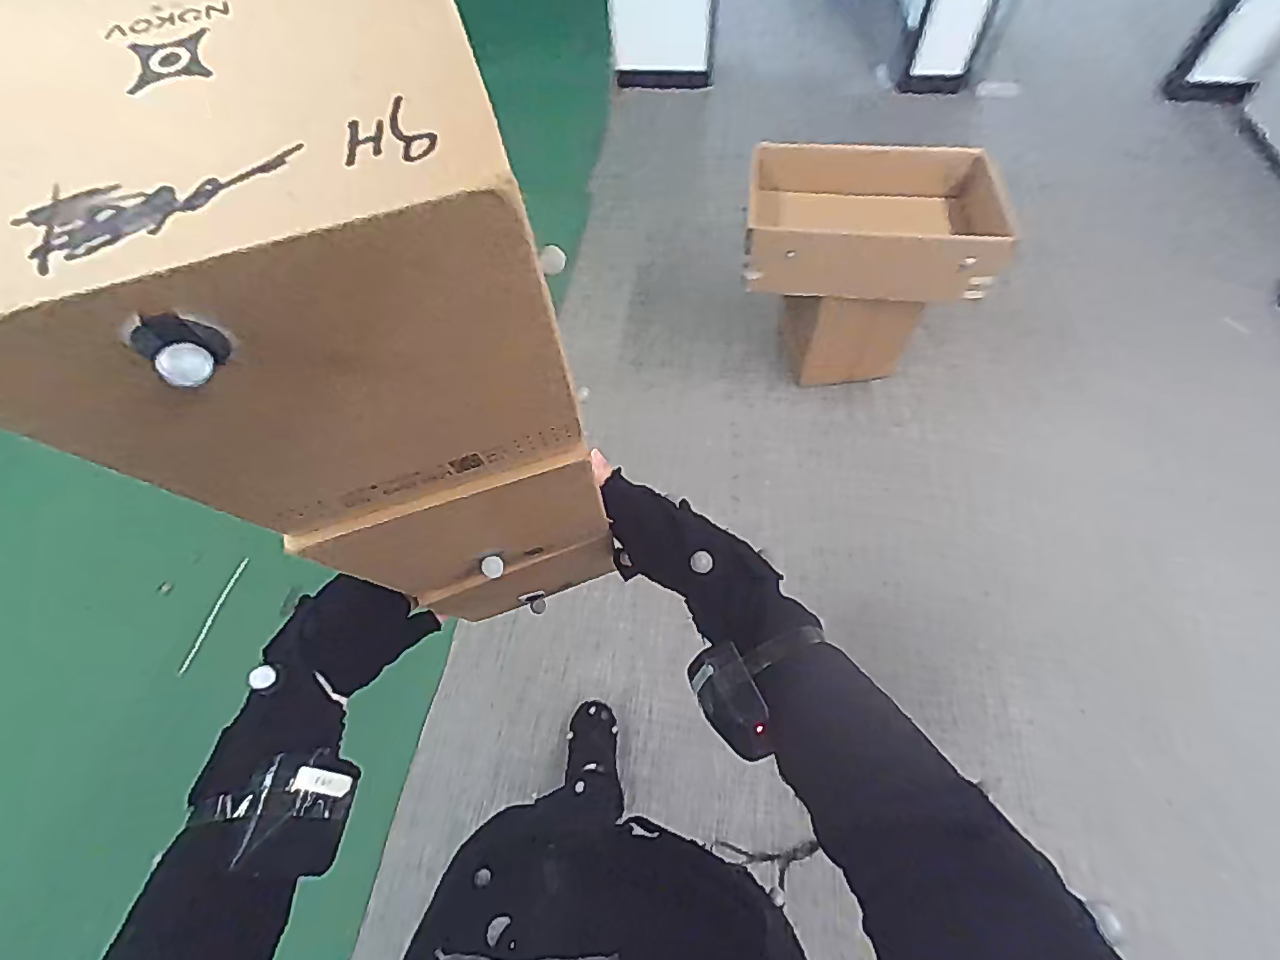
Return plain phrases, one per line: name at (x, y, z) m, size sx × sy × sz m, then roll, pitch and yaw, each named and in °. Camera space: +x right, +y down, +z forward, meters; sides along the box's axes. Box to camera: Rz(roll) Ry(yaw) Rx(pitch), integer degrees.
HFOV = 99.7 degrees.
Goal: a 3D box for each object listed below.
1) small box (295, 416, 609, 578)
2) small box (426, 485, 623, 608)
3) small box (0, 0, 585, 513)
small box at (-0.126, -0.043, 0.398) m, size 0.168 × 0.176 × 0.179 m, roll -17°, pitch 71°, yaw -4°
small box at (-0.123, 0.016, 0.551) m, size 0.168 × 0.176 × 0.179 m, roll -20°, pitch 72°, yaw -6°
small box at (-0.131, -0.107, 0.246) m, size 0.168 × 0.176 × 0.179 m, roll -17°, pitch 70°, yaw -4°
